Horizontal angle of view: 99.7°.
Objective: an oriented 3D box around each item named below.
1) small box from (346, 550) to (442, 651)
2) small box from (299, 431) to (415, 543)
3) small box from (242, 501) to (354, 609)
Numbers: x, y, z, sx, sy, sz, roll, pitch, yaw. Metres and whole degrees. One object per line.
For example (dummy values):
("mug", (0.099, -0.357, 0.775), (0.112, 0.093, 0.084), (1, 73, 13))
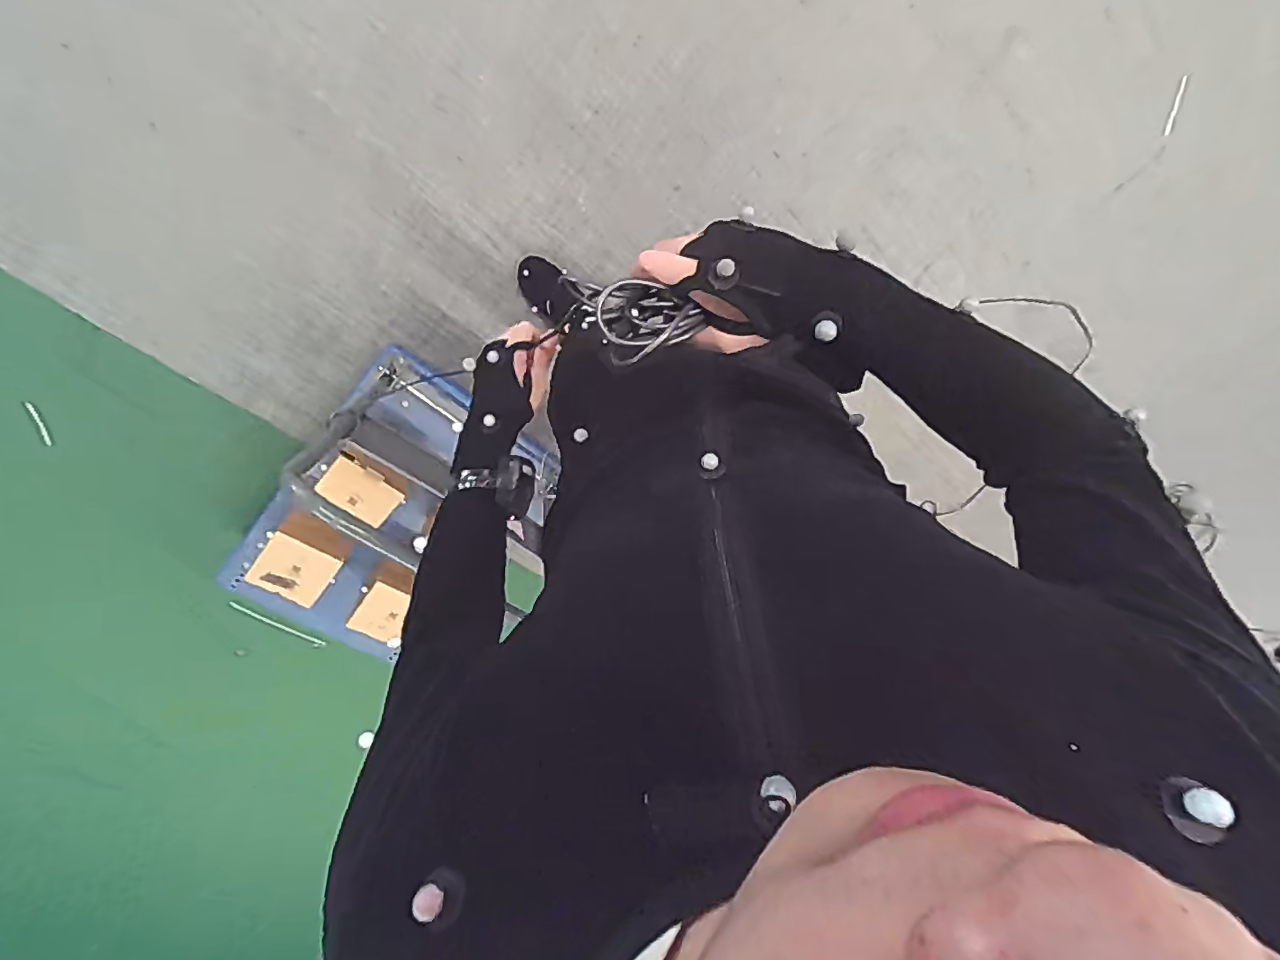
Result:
("small box", (-0.666, 0.324, 1.485), (0.168, 0.176, 0.179), (34, 107, -23))
("small box", (-0.679, 0.013, 1.322), (0.168, 0.176, 0.179), (39, 104, -25))
("small box", (-0.857, 0.187, 1.380), (0.168, 0.176, 0.179), (35, 106, -24))
